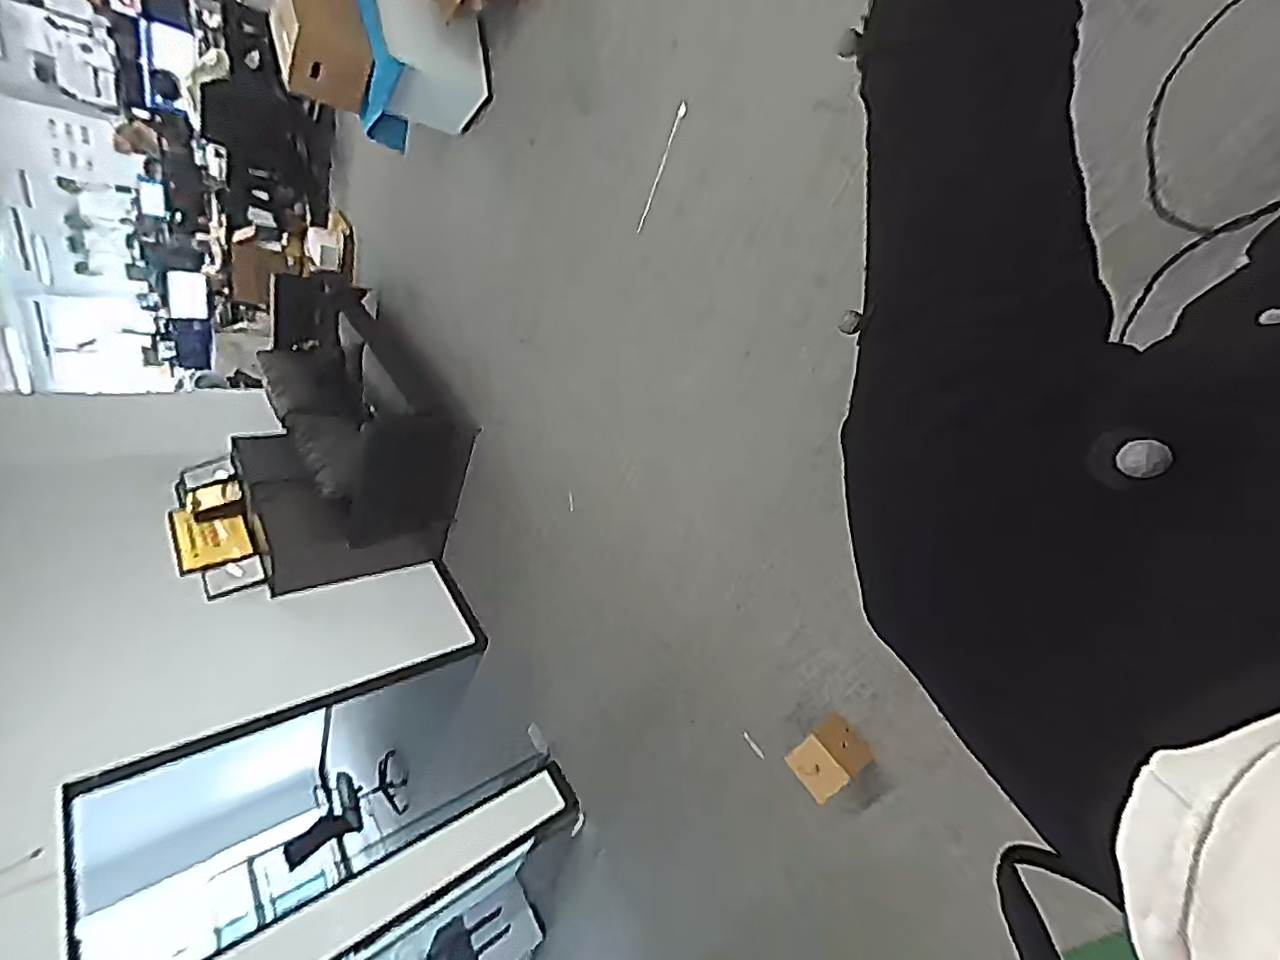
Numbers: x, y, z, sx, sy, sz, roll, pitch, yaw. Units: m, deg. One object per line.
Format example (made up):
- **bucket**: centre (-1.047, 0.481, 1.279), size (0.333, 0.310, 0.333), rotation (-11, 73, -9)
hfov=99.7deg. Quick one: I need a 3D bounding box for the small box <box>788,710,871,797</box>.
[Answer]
- **small box**: centre (0.633, 0.897, 1.786), size (0.168, 0.176, 0.179), rotation (49, 129, 31)
